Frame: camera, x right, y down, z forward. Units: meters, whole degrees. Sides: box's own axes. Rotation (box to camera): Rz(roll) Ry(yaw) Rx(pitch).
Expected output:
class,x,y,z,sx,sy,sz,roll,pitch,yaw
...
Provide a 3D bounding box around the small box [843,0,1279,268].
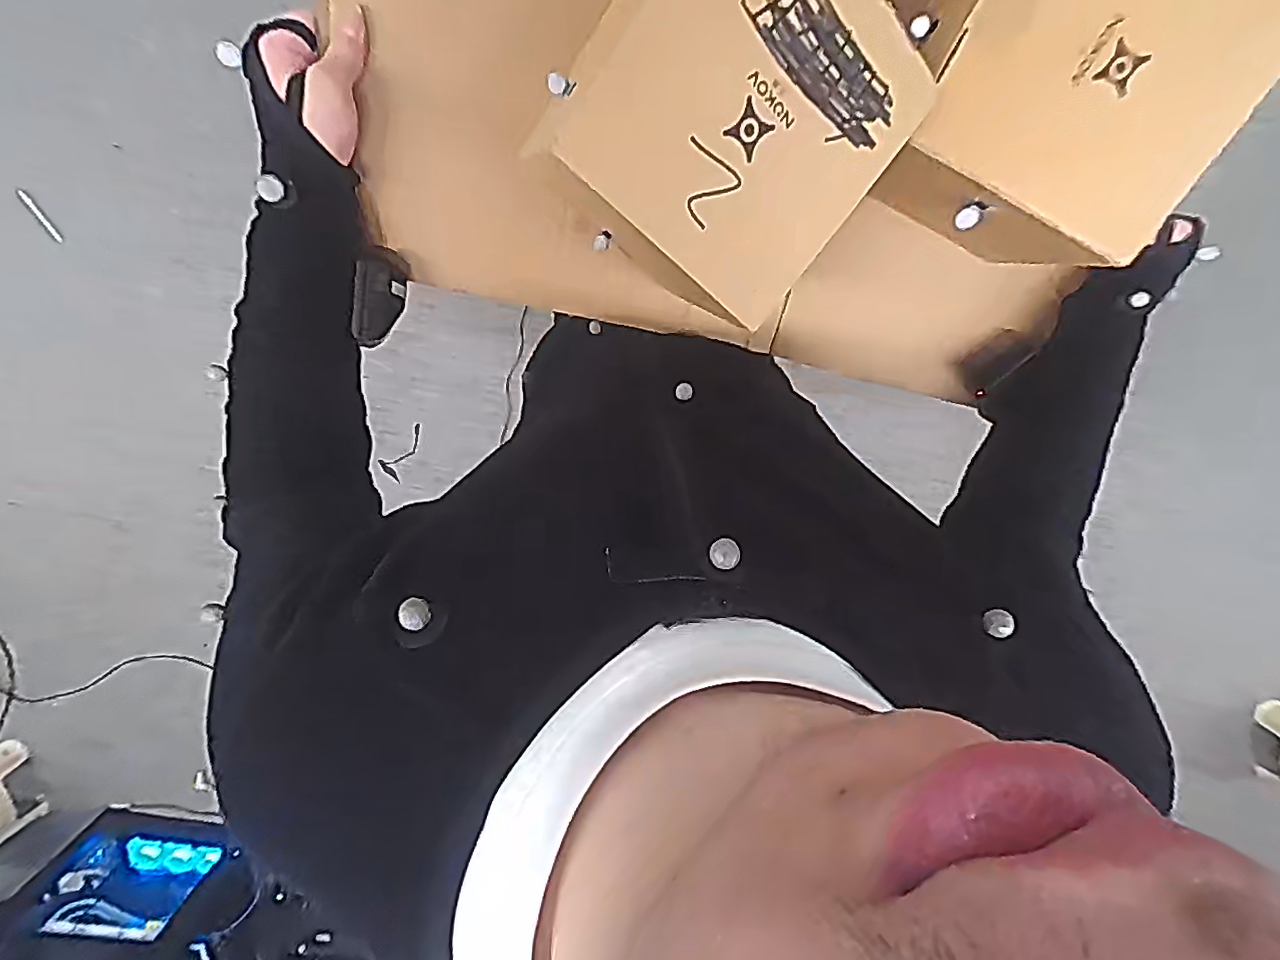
class,x,y,z,sx,sy,sz,roll,pitch,yaw
small box,0.285,-0.278,0.400,0.179,0.176,0.168,26,112,-5
